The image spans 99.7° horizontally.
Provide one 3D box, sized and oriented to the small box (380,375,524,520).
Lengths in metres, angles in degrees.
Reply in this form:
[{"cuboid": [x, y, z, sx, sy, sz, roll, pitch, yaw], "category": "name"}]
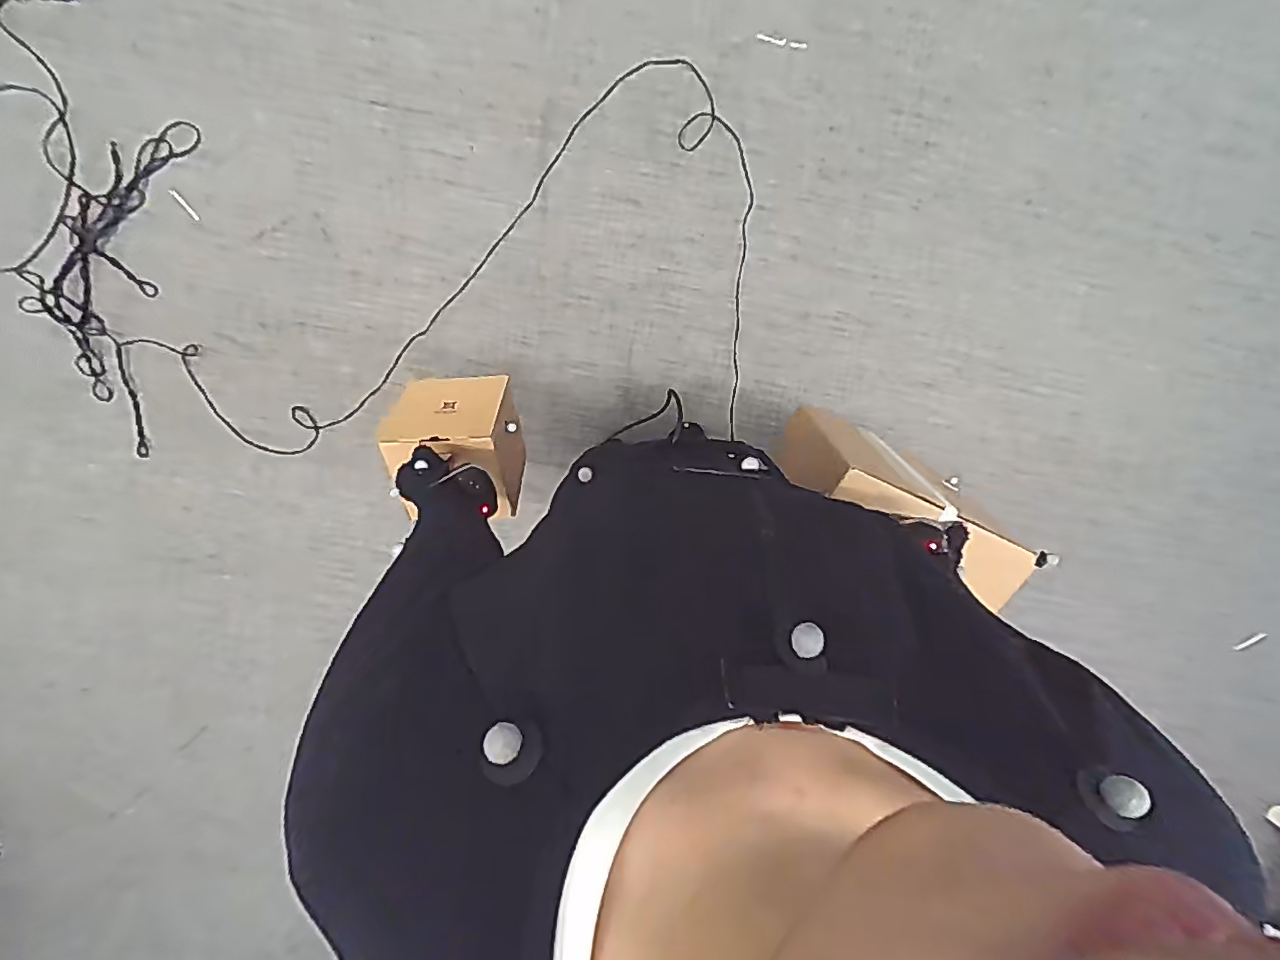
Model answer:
[{"cuboid": [-0.294, -0.054, 0.891, 0.168, 0.179, 0.176, -3, 132, 0], "category": "small box"}]
